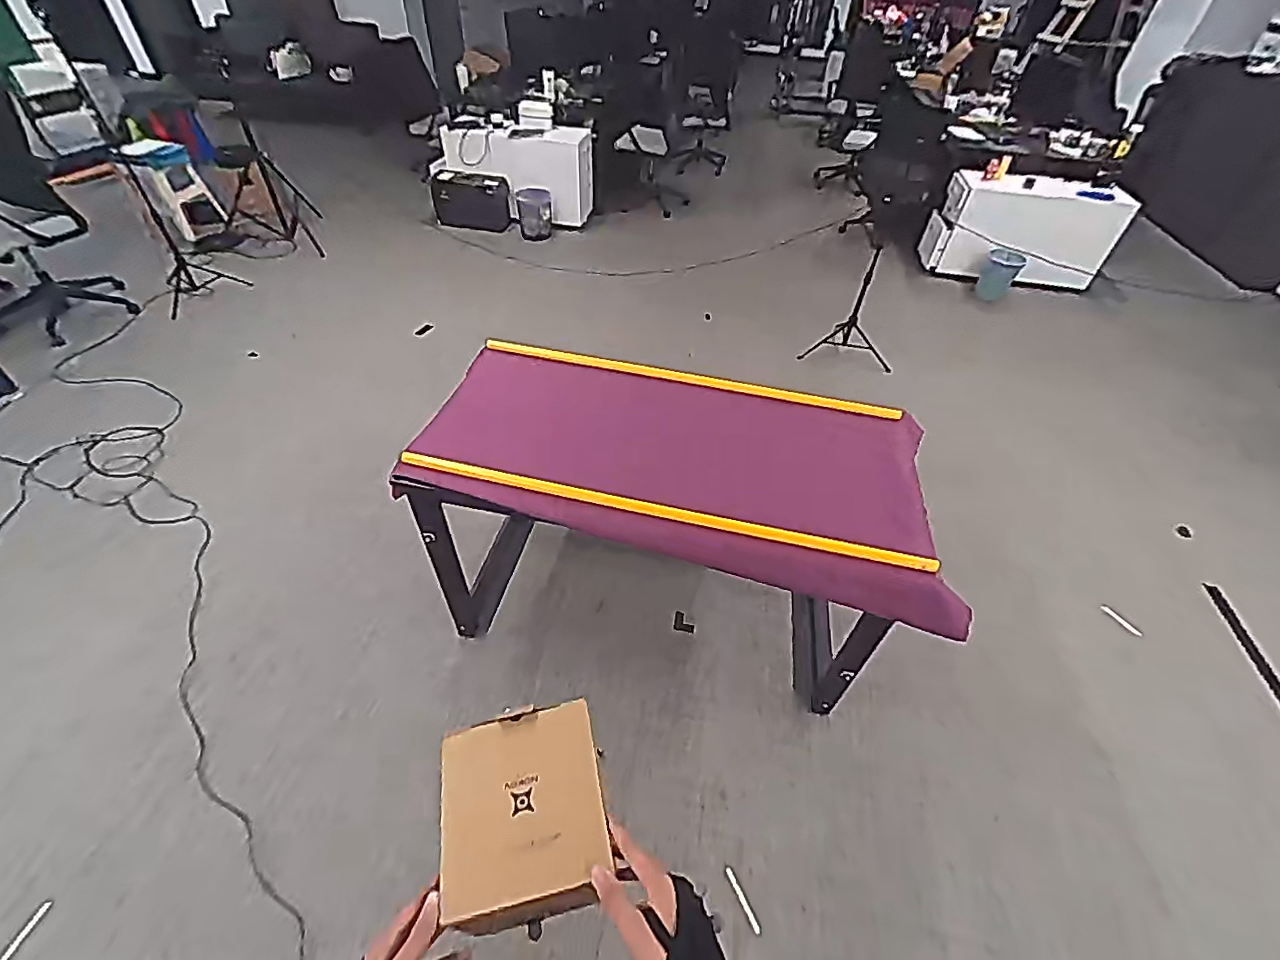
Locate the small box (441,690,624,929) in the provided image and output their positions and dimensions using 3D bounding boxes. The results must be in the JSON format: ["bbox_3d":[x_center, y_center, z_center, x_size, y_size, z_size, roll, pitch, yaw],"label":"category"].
[{"bbox_3d":[-0.118,0.374,0.617,0.168,0.176,0.179,-12,46,-7],"label":"small box"}]
